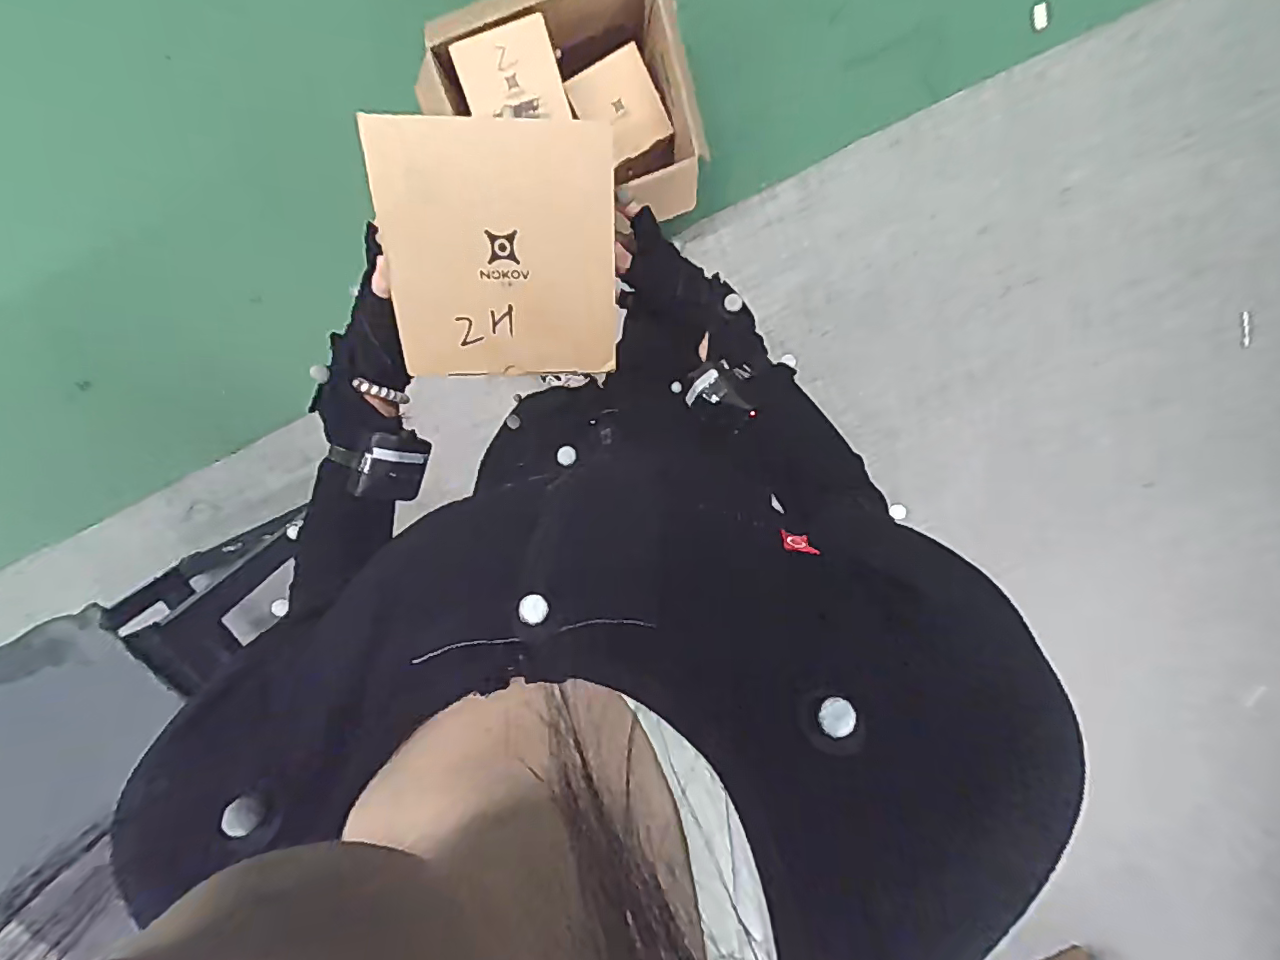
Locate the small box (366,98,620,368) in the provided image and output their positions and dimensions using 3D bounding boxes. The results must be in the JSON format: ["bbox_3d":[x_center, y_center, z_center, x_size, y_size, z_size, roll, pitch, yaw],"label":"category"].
[{"bbox_3d":[-0.106,-0.203,0.460,0.168,0.176,0.179,-2,118,-6],"label":"small box"}]
